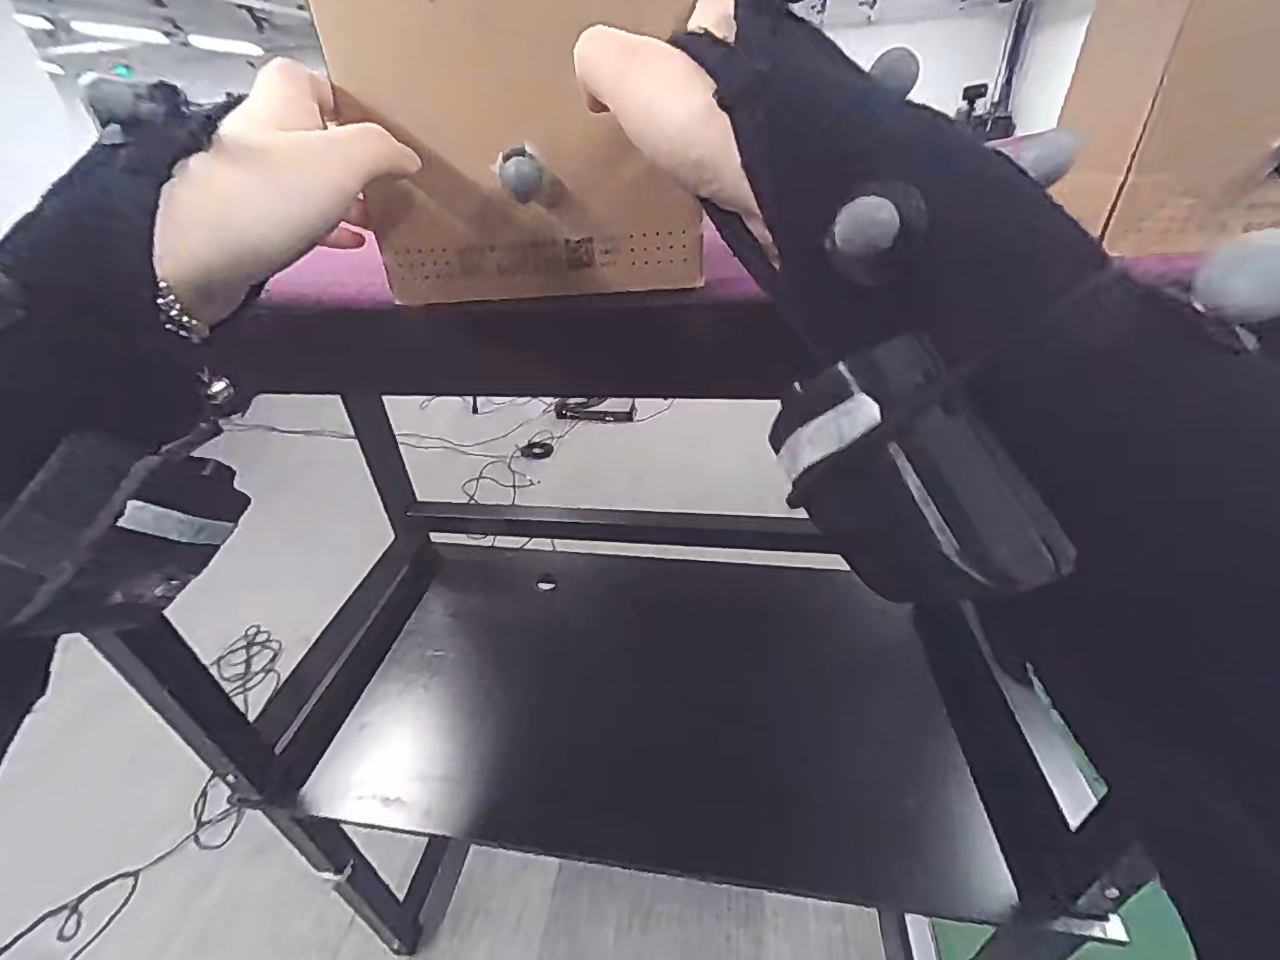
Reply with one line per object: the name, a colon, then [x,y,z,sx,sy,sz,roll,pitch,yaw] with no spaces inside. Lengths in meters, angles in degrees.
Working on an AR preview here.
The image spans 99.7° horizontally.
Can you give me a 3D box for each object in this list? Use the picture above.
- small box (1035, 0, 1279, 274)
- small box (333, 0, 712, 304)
small box: [0.364,-0.225,0.312,0.168,0.176,0.179,8,37,17]
small box: [-0.045,-0.205,0.309,0.168,0.176,0.179,-2,32,5]
